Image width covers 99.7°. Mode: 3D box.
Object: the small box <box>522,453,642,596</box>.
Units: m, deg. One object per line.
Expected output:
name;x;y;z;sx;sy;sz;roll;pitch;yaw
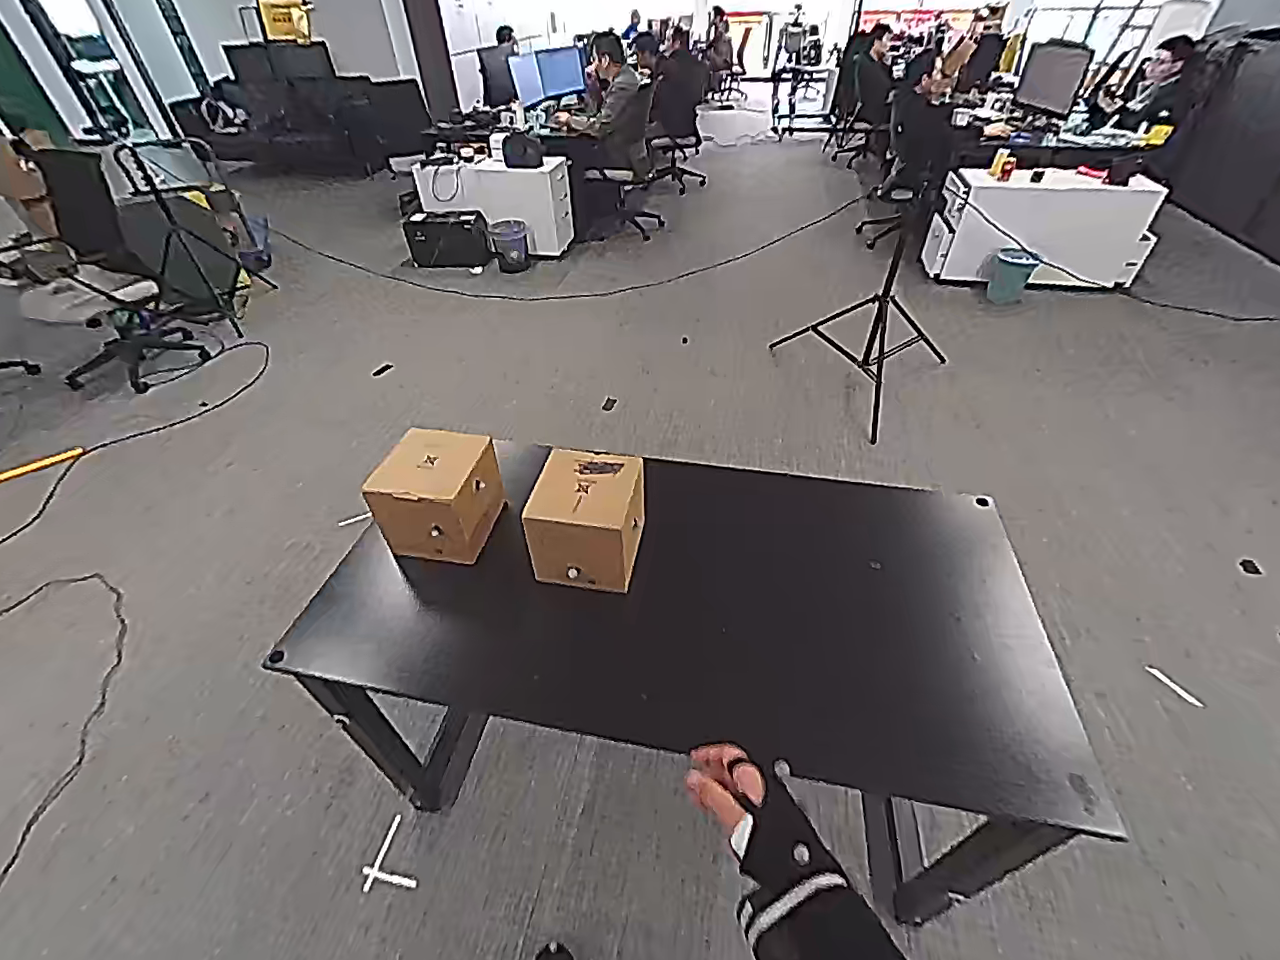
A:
small box;-0.093;0.078;0.956;0.168;0.176;0.179;6;43;9

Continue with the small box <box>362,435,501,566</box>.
small box;-0.373;0.039;1.008;0.168;0.176;0.179;7;42;7
